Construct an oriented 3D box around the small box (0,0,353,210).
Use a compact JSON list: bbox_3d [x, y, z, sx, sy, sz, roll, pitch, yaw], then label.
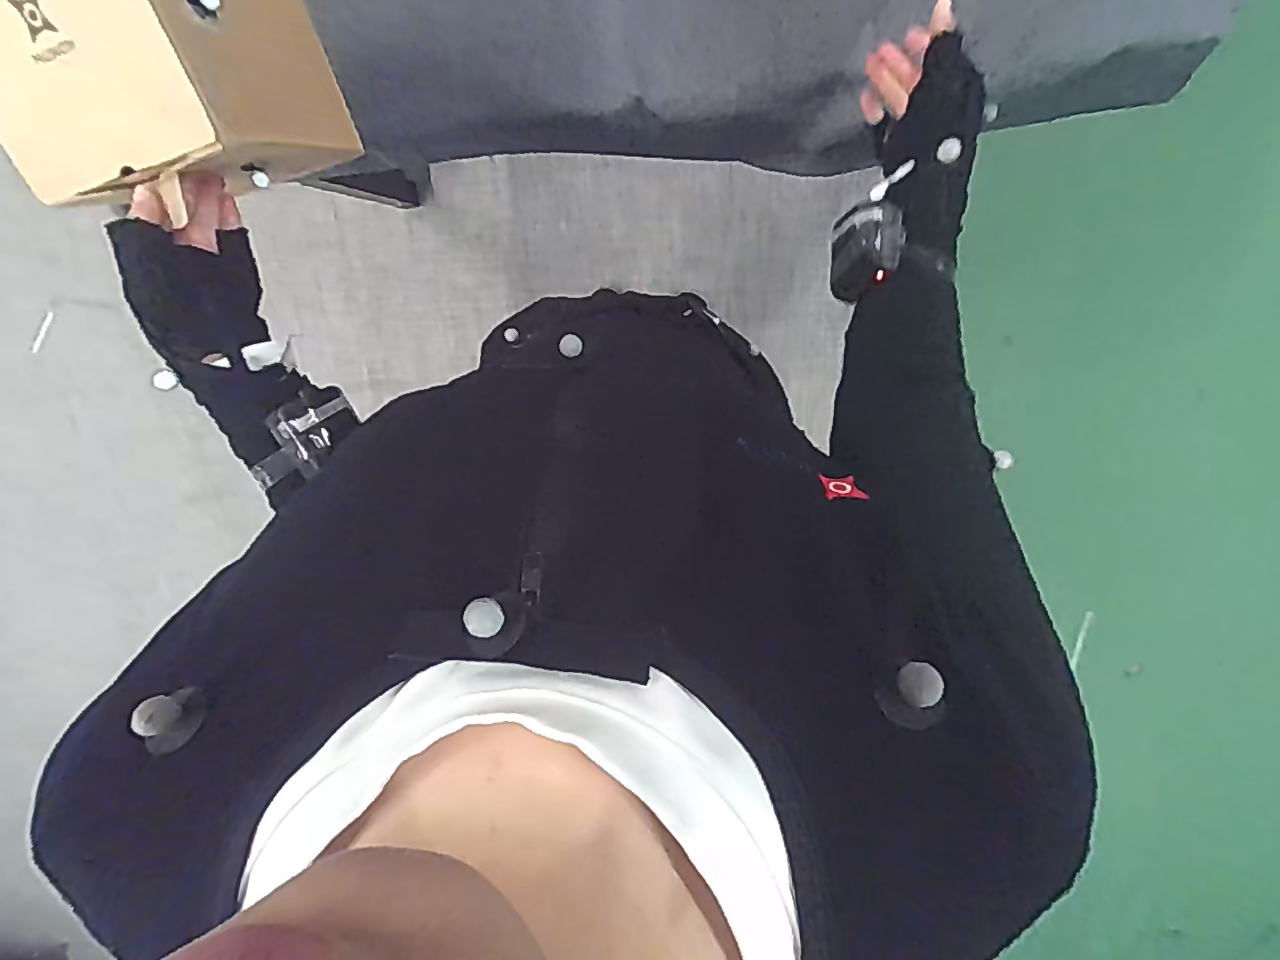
[{"bbox_3d":[-0.357,-0.317,0.398,0.168,0.176,0.179,-9,117,13],"label":"small box"}]
